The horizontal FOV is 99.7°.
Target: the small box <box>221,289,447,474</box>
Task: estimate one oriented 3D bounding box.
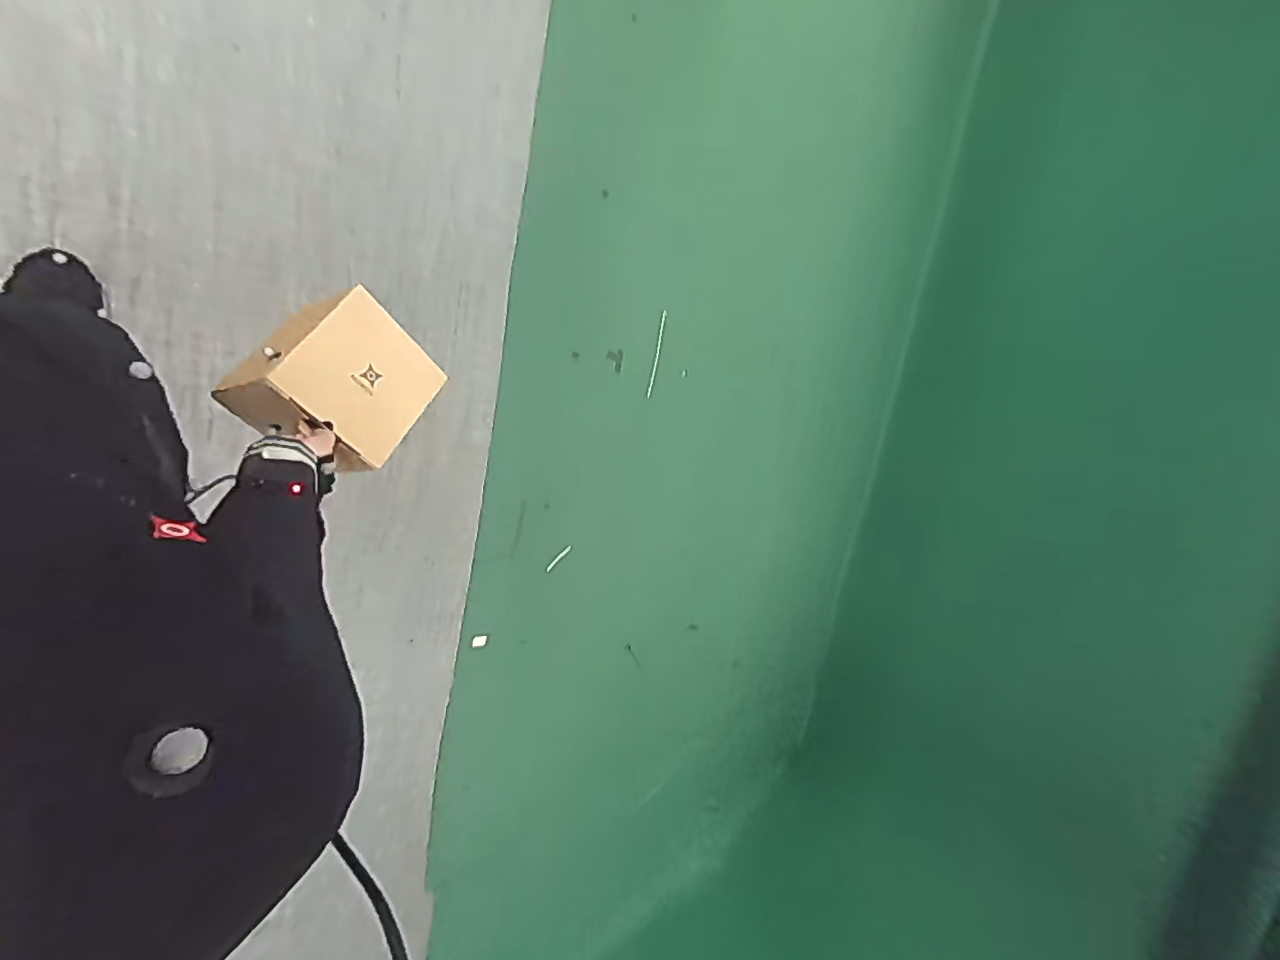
[{"bbox_3d":[-0.407,-0.125,0.727,0.168,0.176,0.179,53,49,-40],"label":"small box"}]
